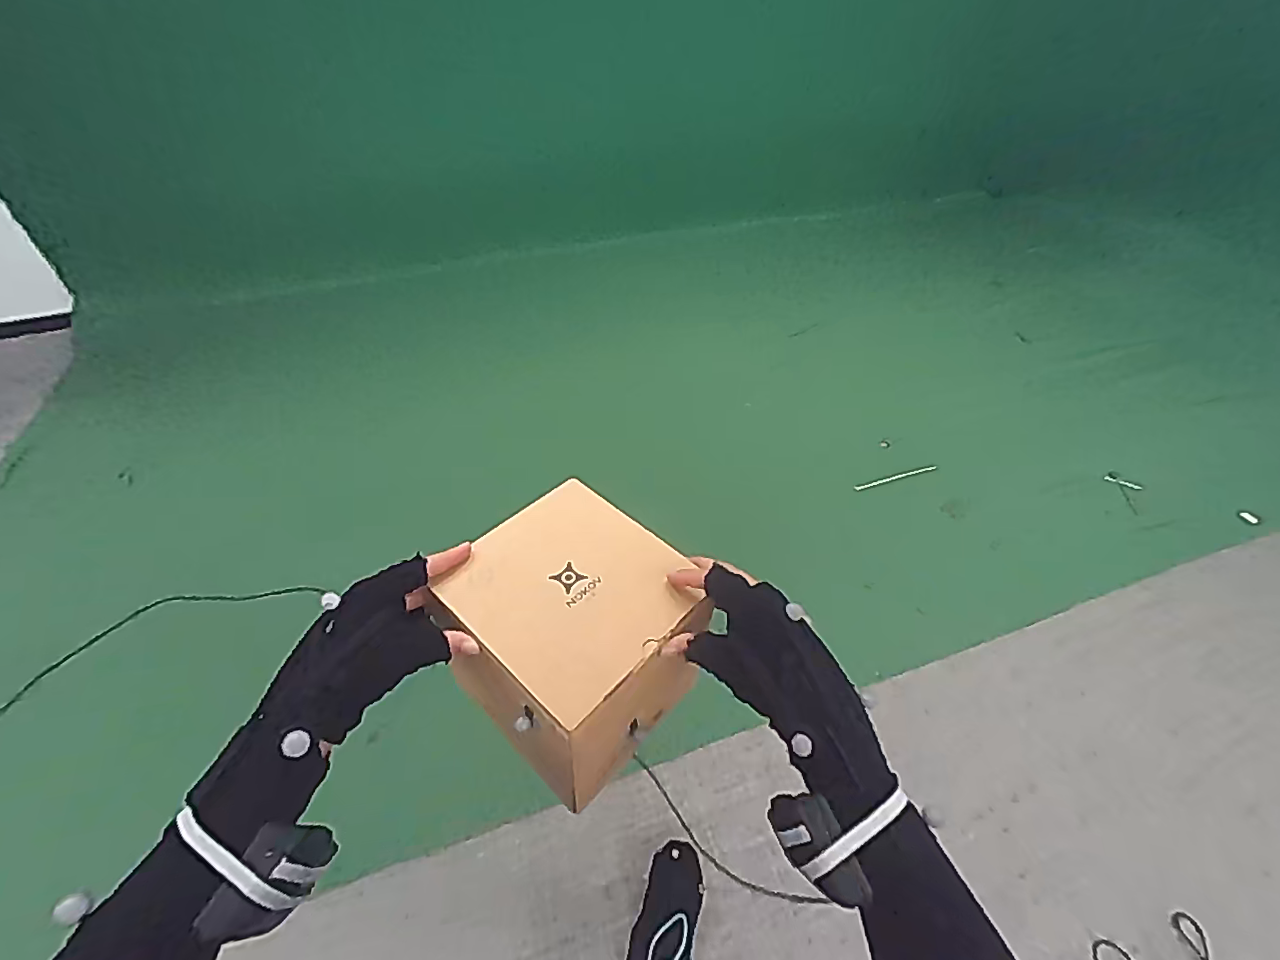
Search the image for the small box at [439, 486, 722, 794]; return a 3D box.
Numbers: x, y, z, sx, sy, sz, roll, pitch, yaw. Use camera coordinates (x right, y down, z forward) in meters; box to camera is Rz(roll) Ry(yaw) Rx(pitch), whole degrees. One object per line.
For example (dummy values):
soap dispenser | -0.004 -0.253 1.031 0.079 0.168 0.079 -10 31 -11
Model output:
small box | -0.055 0.143 0.496 0.179 0.176 0.168 35 50 27
